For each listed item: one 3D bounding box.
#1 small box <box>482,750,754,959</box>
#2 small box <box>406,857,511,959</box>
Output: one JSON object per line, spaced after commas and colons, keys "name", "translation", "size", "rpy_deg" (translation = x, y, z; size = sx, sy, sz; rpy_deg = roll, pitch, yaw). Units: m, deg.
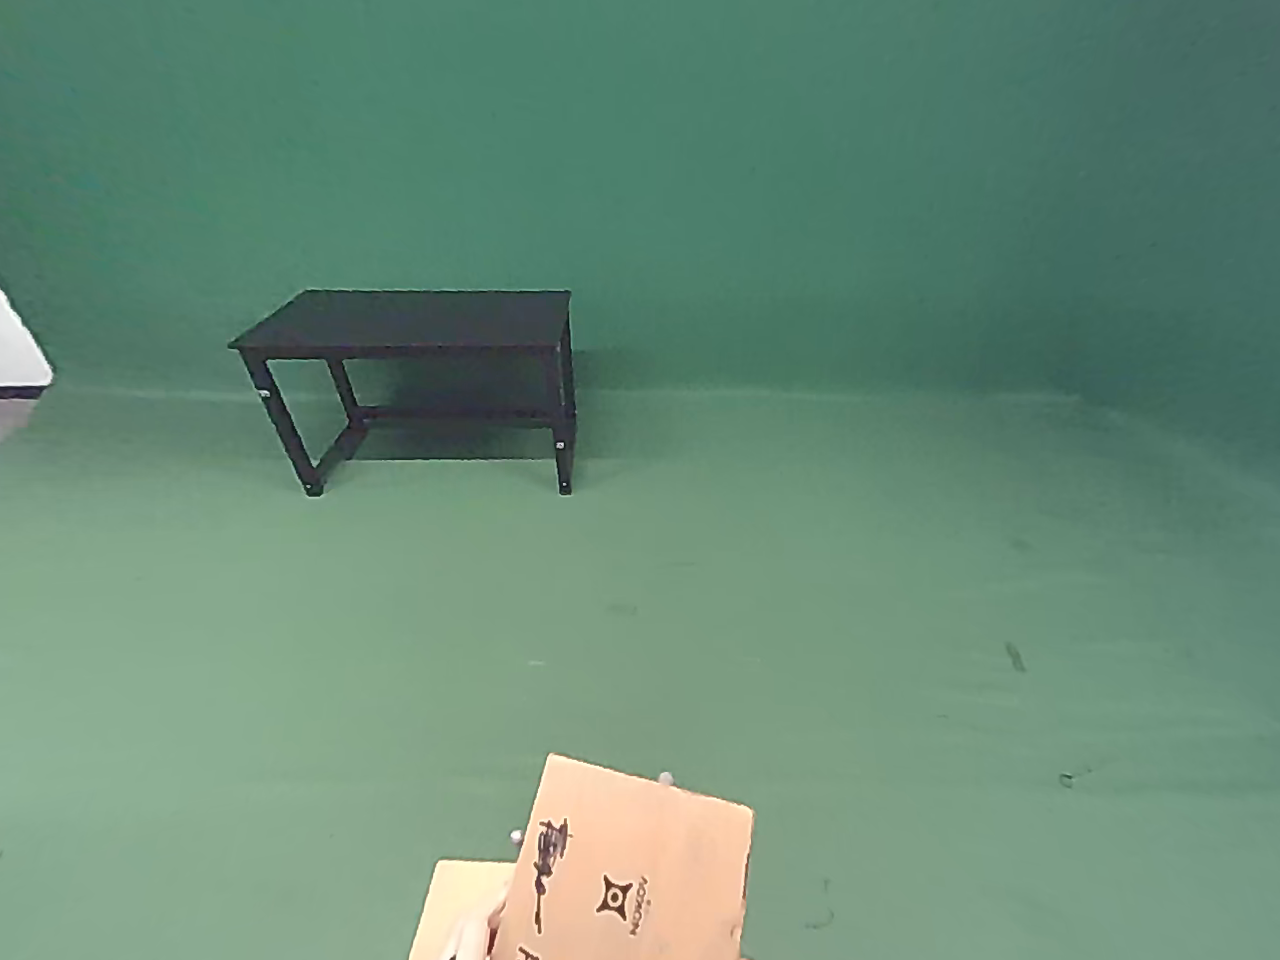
{"name": "small box", "translation": [-0.015, 0.345, 0.460], "size": [0.179, 0.176, 0.168], "rpy_deg": [12, 59, 6]}
{"name": "small box", "translation": [-0.265, 0.754, 0.884], "size": [0.168, 0.176, 0.179], "rpy_deg": [2, 36, 1]}
